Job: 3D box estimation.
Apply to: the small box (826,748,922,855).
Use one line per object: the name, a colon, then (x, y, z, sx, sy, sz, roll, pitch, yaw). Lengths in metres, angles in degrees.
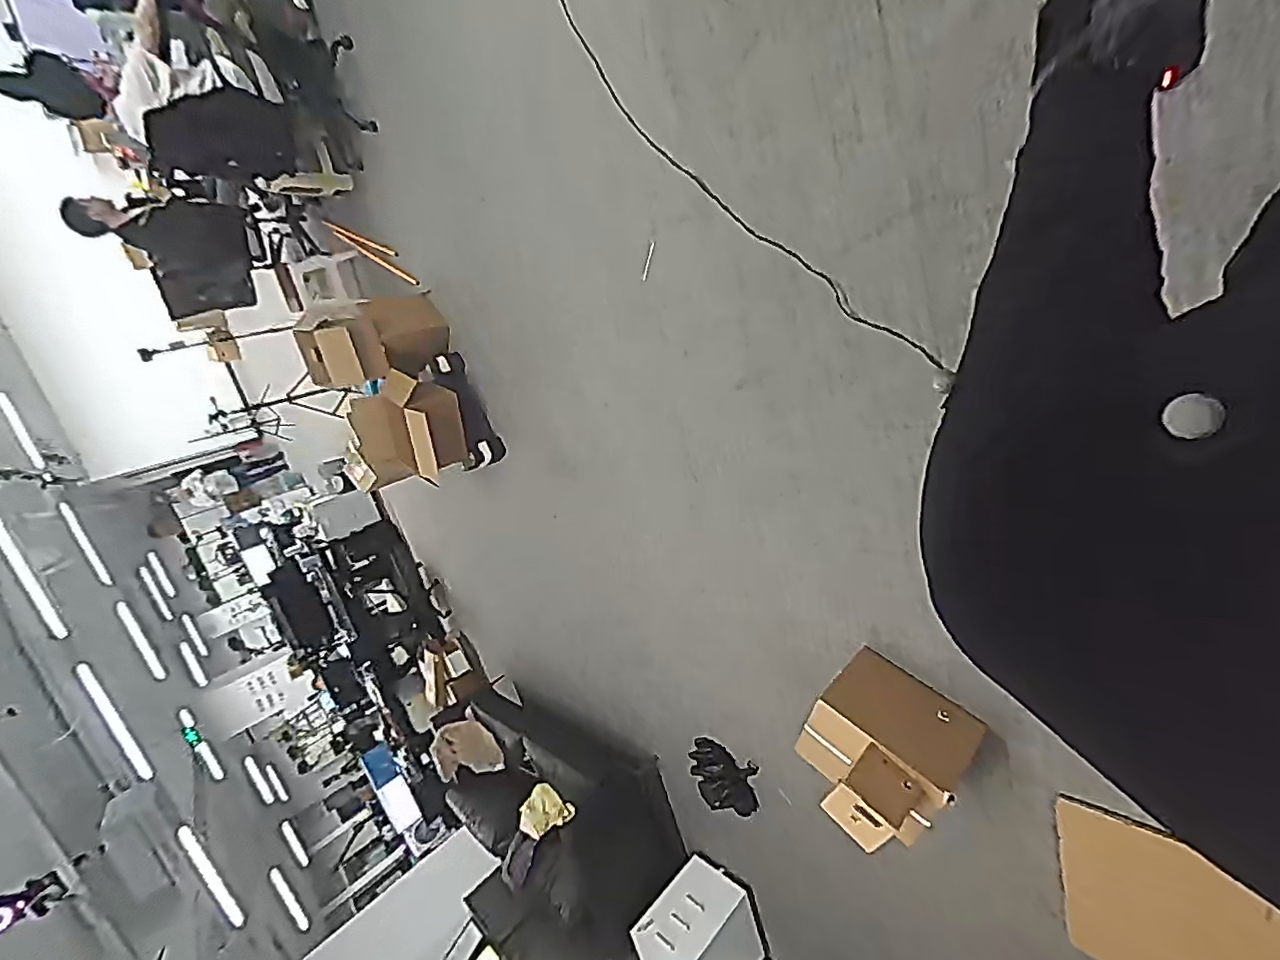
small box: (0.663, 0.898, 1.523, 0.168, 0.176, 0.179, 39, 137, 30)
